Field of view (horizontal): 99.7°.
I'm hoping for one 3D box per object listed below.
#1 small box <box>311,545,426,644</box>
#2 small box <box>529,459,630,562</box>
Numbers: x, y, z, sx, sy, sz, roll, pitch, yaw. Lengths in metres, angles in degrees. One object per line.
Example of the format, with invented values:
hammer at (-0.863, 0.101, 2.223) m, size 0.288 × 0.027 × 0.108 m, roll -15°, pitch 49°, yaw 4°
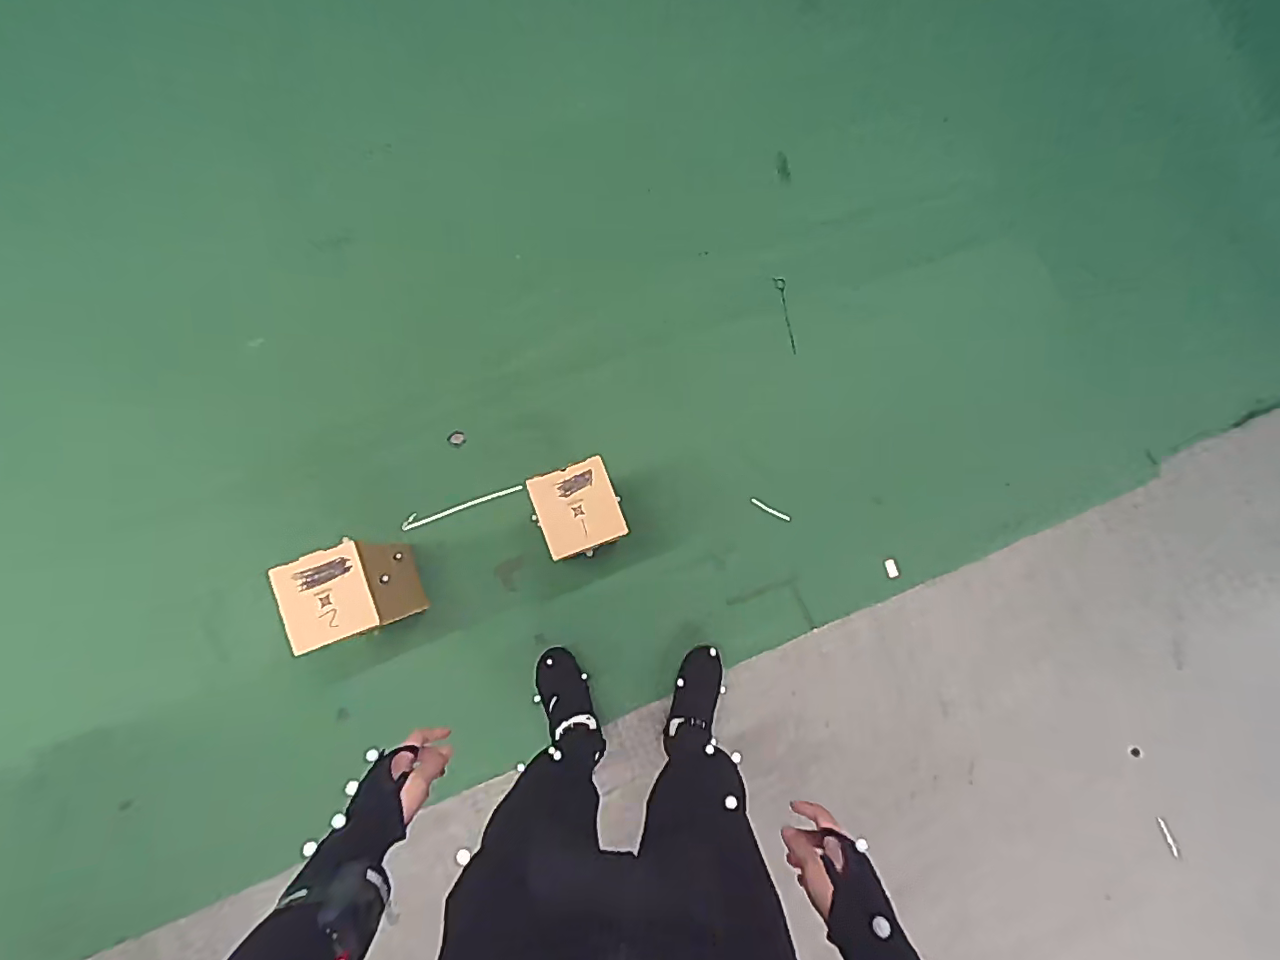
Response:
small box at (-0.624, 0.262, 1.267) m, size 0.168 × 0.176 × 0.179 m, roll -20°, pitch 83°, yaw -8°
small box at (-0.134, 0.073, 1.181) m, size 0.168 × 0.176 × 0.179 m, roll -19°, pitch 84°, yaw -9°
